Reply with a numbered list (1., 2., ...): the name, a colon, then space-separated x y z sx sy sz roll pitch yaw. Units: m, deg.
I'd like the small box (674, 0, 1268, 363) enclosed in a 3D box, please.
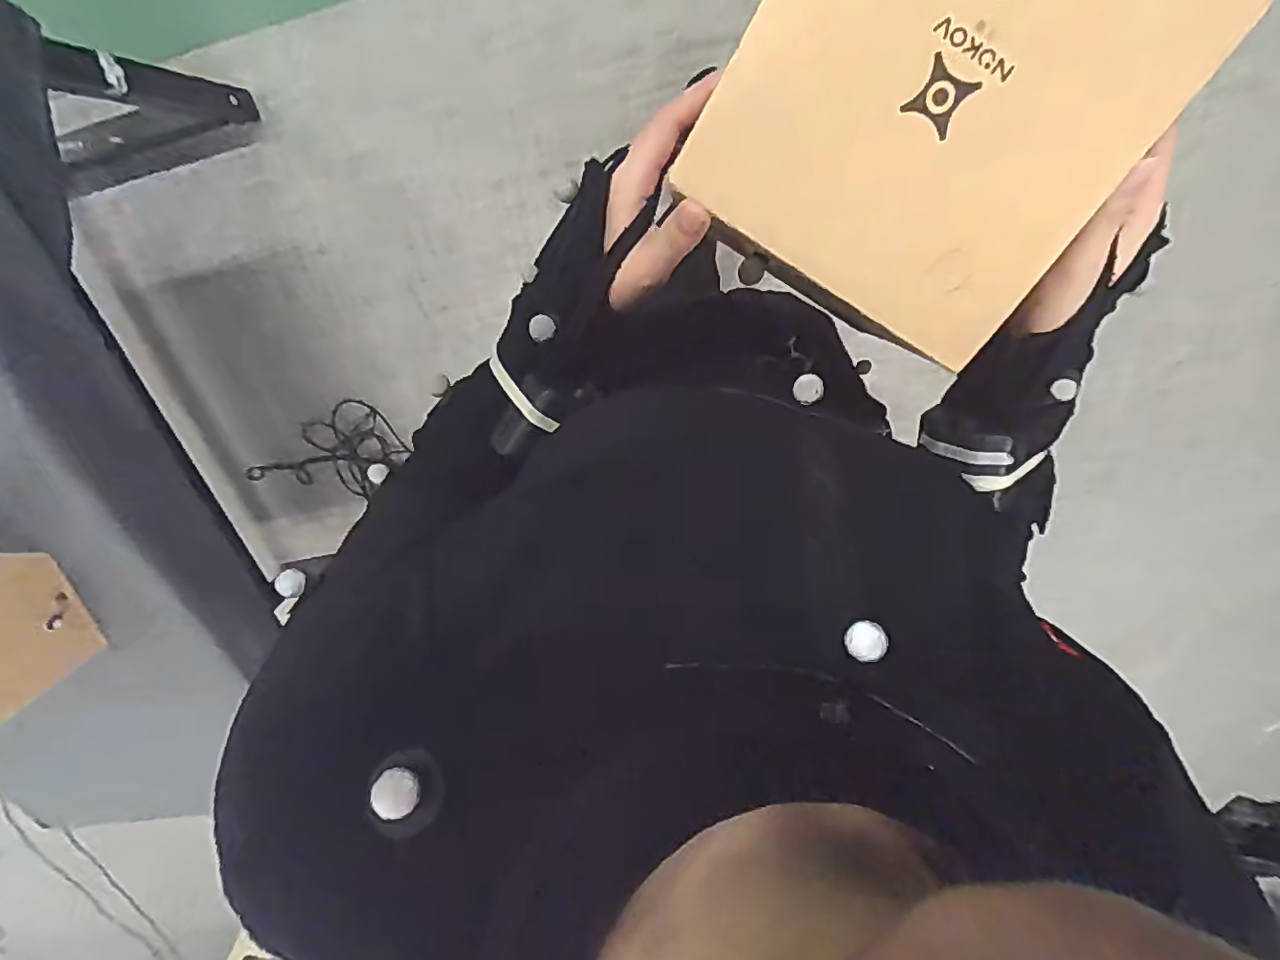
1. small box: 0.136 -0.189 0.294 0.168 0.176 0.179 30 110 -5
